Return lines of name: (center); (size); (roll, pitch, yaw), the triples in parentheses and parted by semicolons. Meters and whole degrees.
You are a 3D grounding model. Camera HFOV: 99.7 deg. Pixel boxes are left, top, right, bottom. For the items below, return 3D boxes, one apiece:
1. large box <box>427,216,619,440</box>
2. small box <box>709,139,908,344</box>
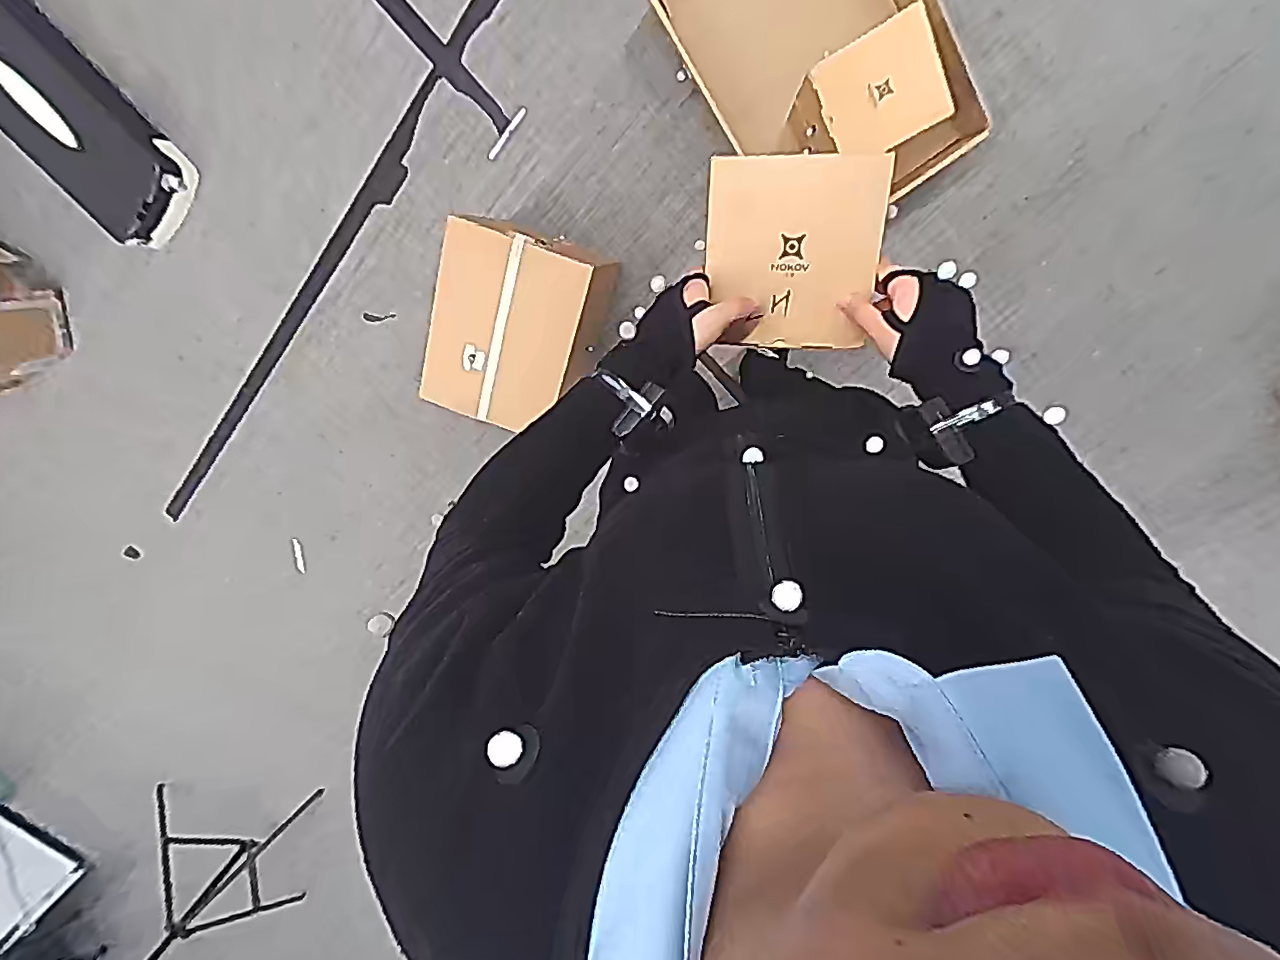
large box: (-0.267, -0.369, 1.286); (0.320, 0.320, 0.408); (20, 116, 1)
small box: (0.169, -0.250, 0.588); (0.168, 0.176, 0.179); (6, 112, 11)
